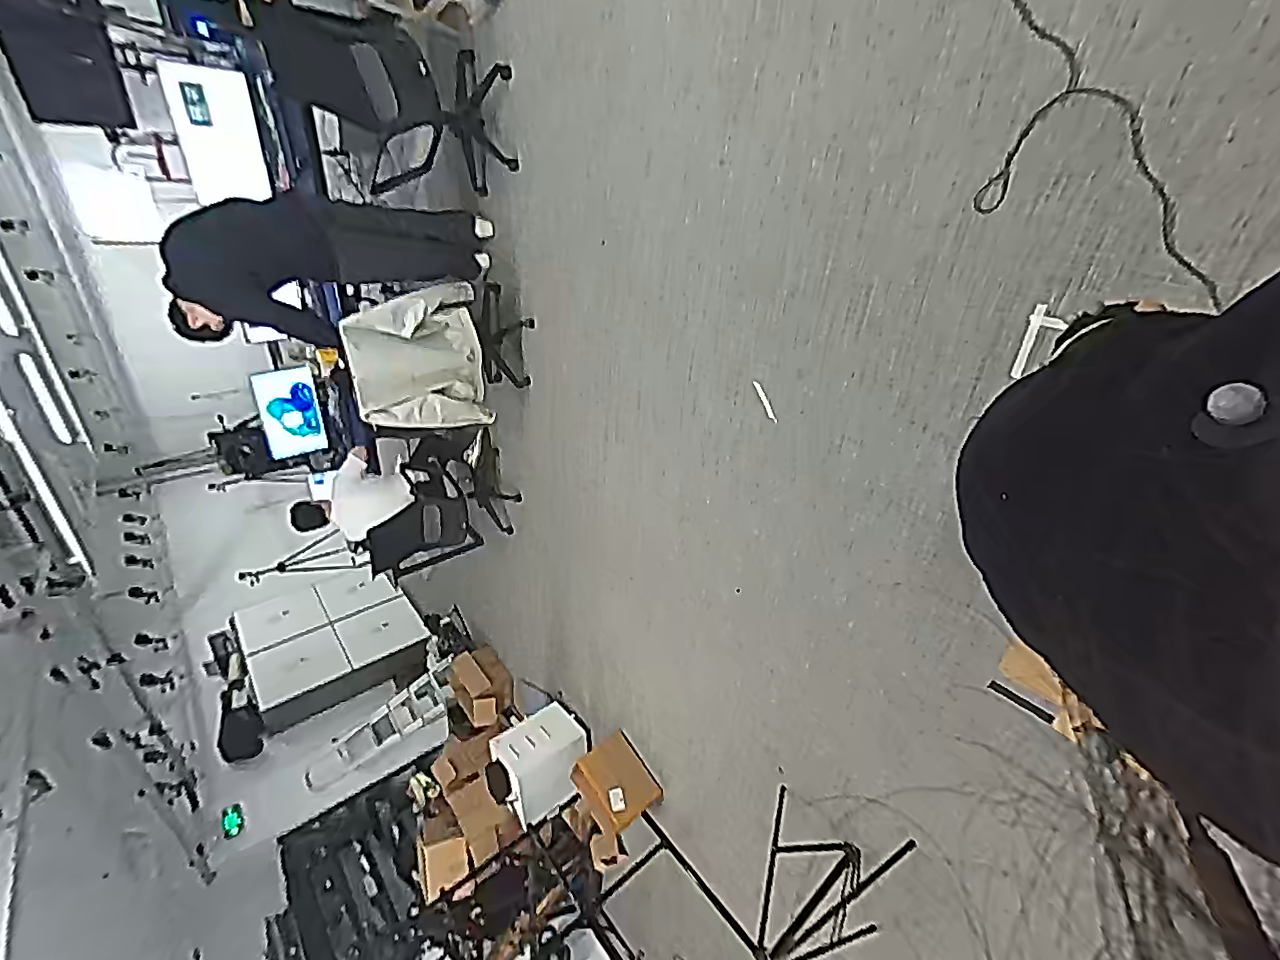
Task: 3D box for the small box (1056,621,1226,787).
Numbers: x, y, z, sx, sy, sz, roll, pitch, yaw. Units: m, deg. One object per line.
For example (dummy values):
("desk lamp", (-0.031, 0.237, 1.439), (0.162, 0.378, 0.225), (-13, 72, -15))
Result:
("small box", (0.895, 0.390, 0.967), (0.168, 0.176, 0.179), (30, 127, 41))
